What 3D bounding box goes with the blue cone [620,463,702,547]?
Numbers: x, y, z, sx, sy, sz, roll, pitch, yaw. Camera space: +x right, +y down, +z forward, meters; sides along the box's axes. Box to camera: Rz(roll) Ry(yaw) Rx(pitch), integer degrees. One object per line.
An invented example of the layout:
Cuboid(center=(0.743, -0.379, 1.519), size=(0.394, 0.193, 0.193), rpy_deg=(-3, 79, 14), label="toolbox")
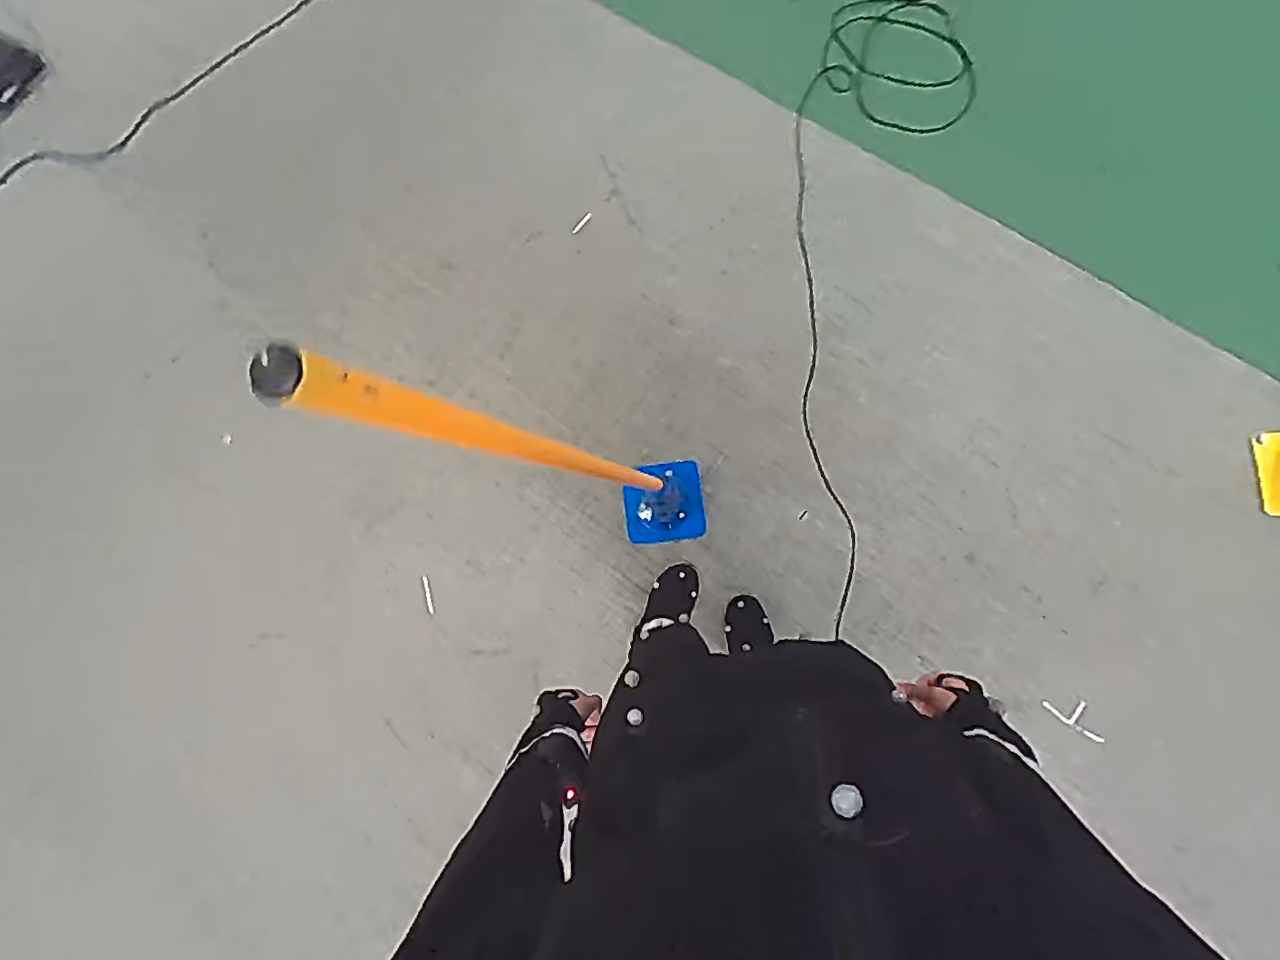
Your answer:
Cuboid(center=(0.038, 0.044, 1.182), size=(0.193, 0.380, 0.192), rpy_deg=(-10, 82, 4), label="blue cone")
